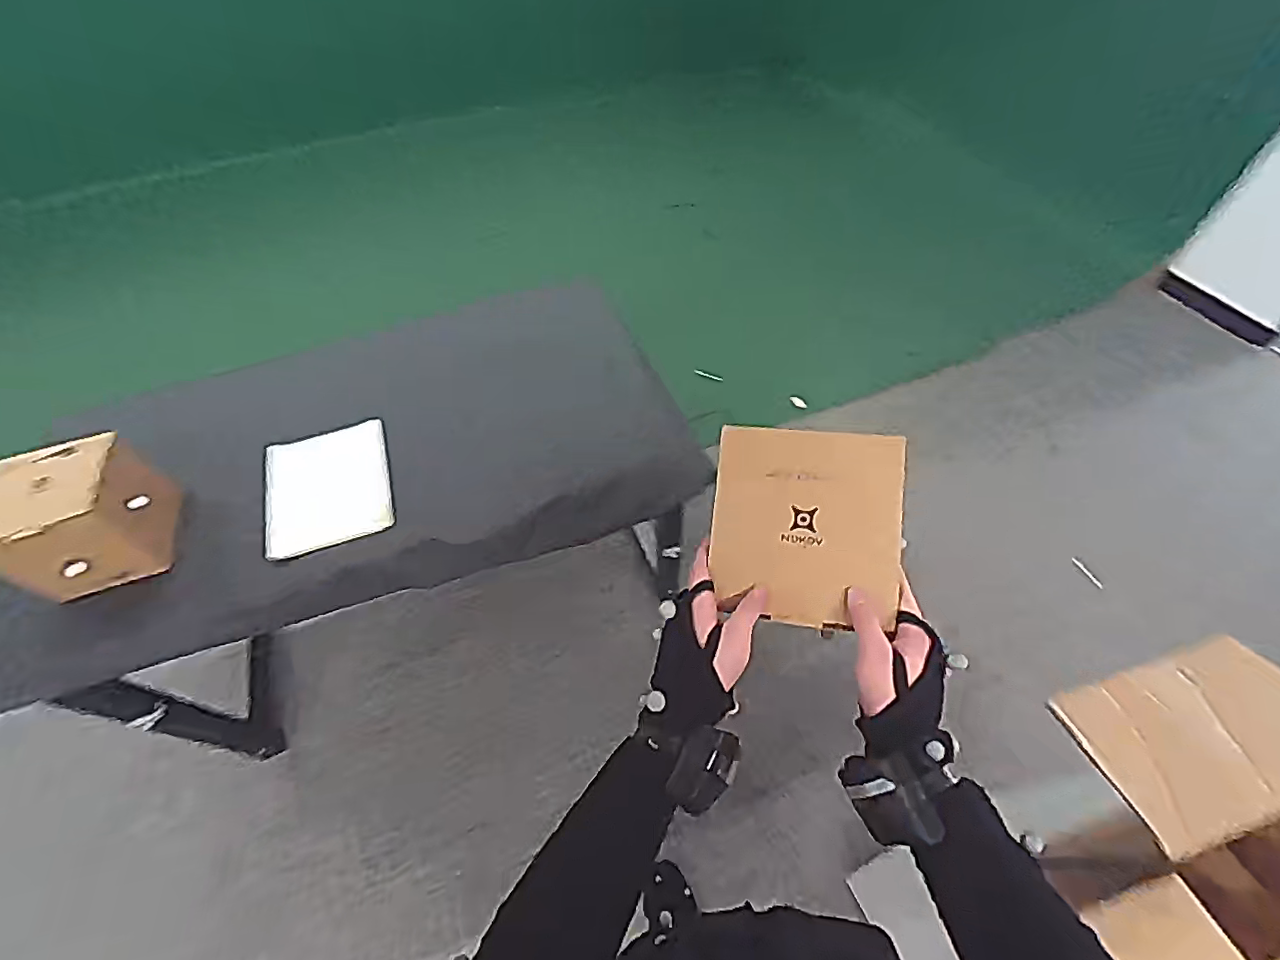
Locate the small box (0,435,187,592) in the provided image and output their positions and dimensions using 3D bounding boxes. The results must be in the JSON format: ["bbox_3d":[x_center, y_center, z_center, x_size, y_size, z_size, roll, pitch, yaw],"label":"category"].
[{"bbox_3d":[-0.883,0.062,0.876,0.168,0.176,0.179,-18,56,-12],"label":"small box"}]
